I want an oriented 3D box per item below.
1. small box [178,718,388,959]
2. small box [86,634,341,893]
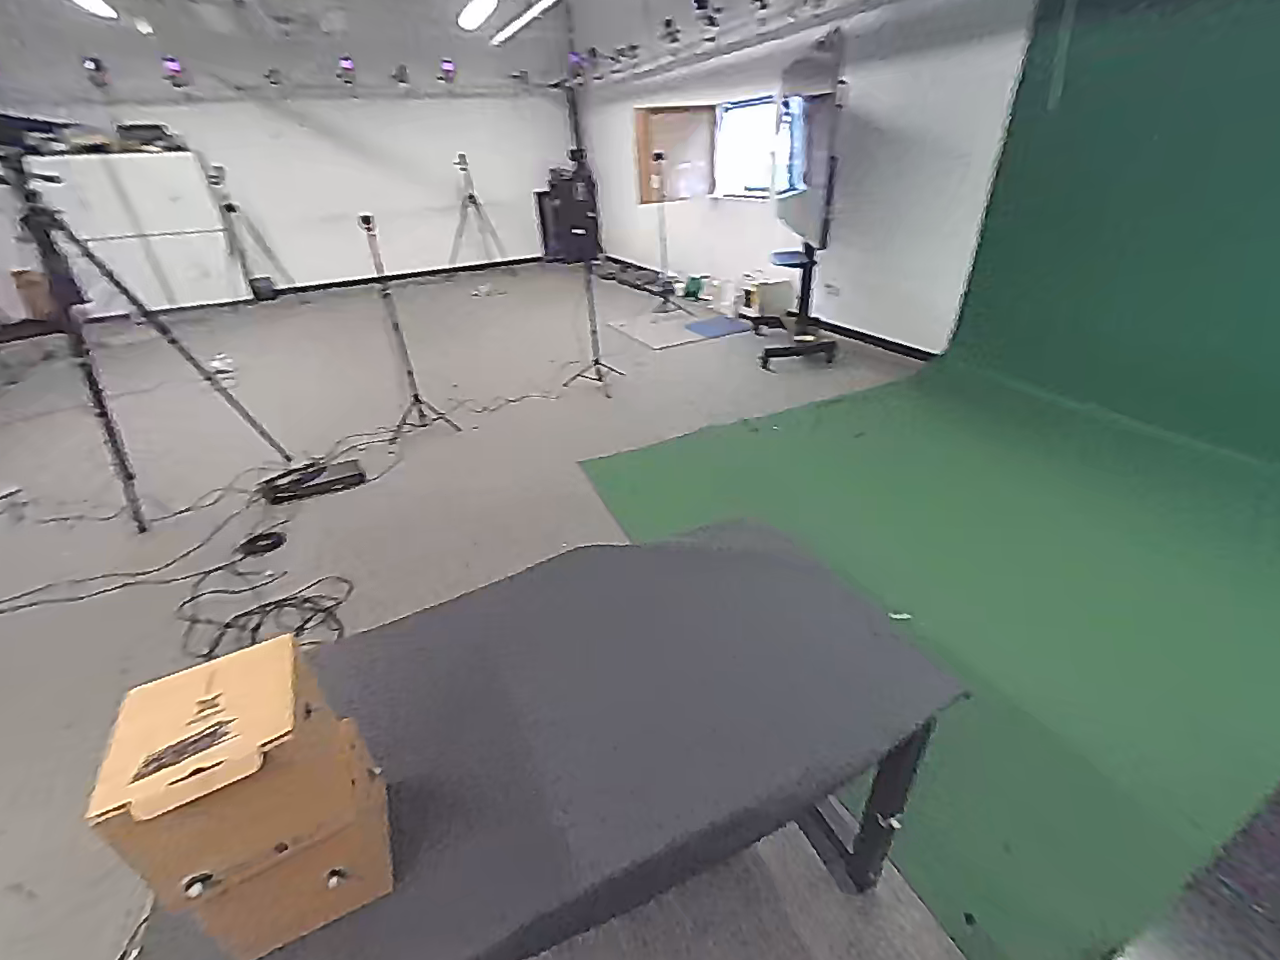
[{"bbox_3d":[-0.440,0.458,0.702,0.179,0.176,0.168,-18,32,-21],"label":"small box"},{"bbox_3d":[-0.459,0.319,0.615,0.168,0.176,0.179,-19,32,-25],"label":"small box"}]
